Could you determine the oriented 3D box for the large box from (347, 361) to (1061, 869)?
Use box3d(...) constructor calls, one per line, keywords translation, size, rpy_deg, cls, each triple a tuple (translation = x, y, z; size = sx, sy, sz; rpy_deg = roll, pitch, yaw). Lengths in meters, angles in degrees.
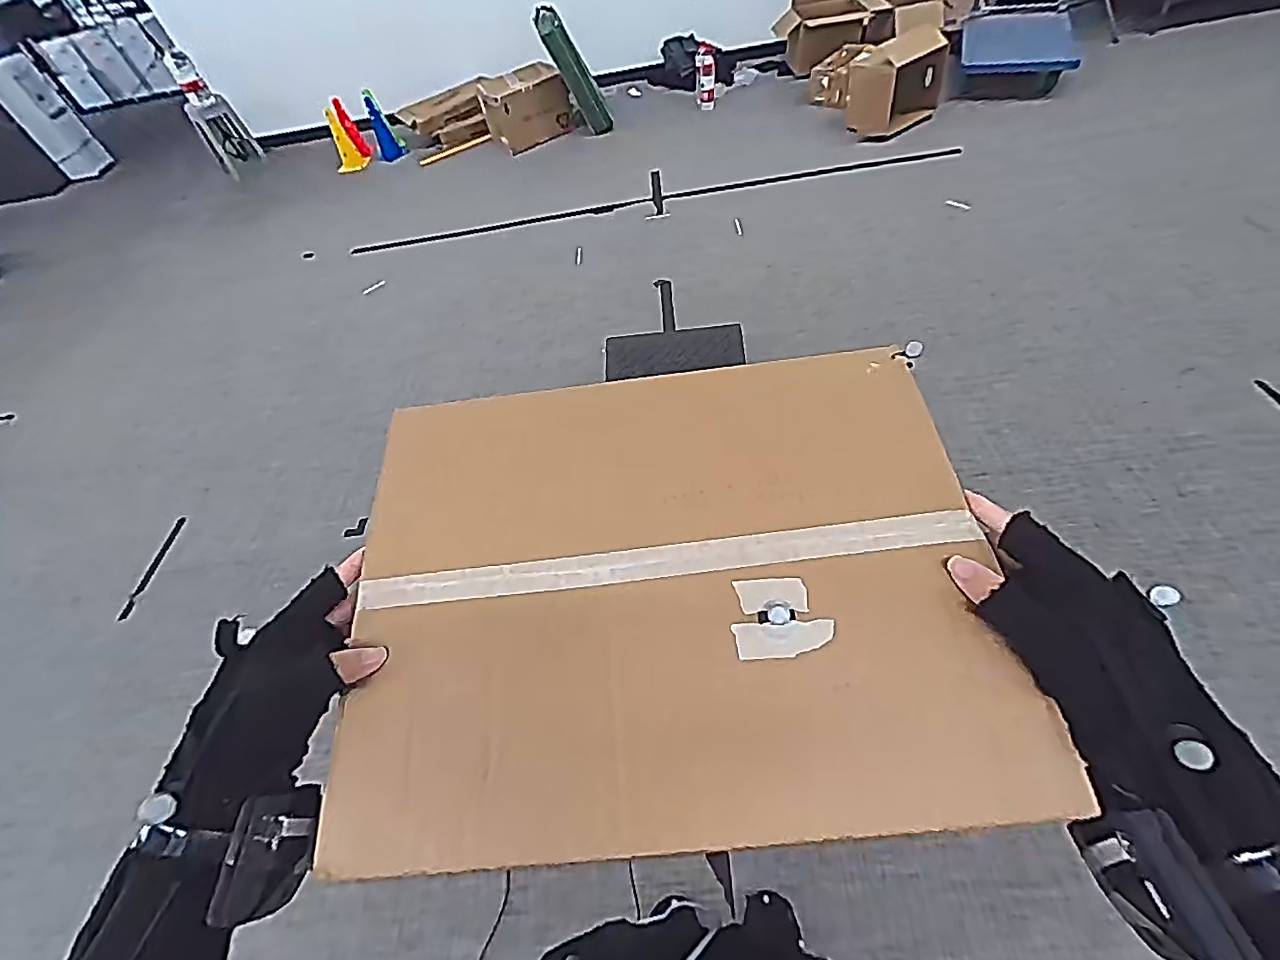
box3d(translation=(0.030, 0.132, 0.496), size=(0.408, 0.320, 0.320), rpy_deg=(-7, 61, 2), cls="large box")
